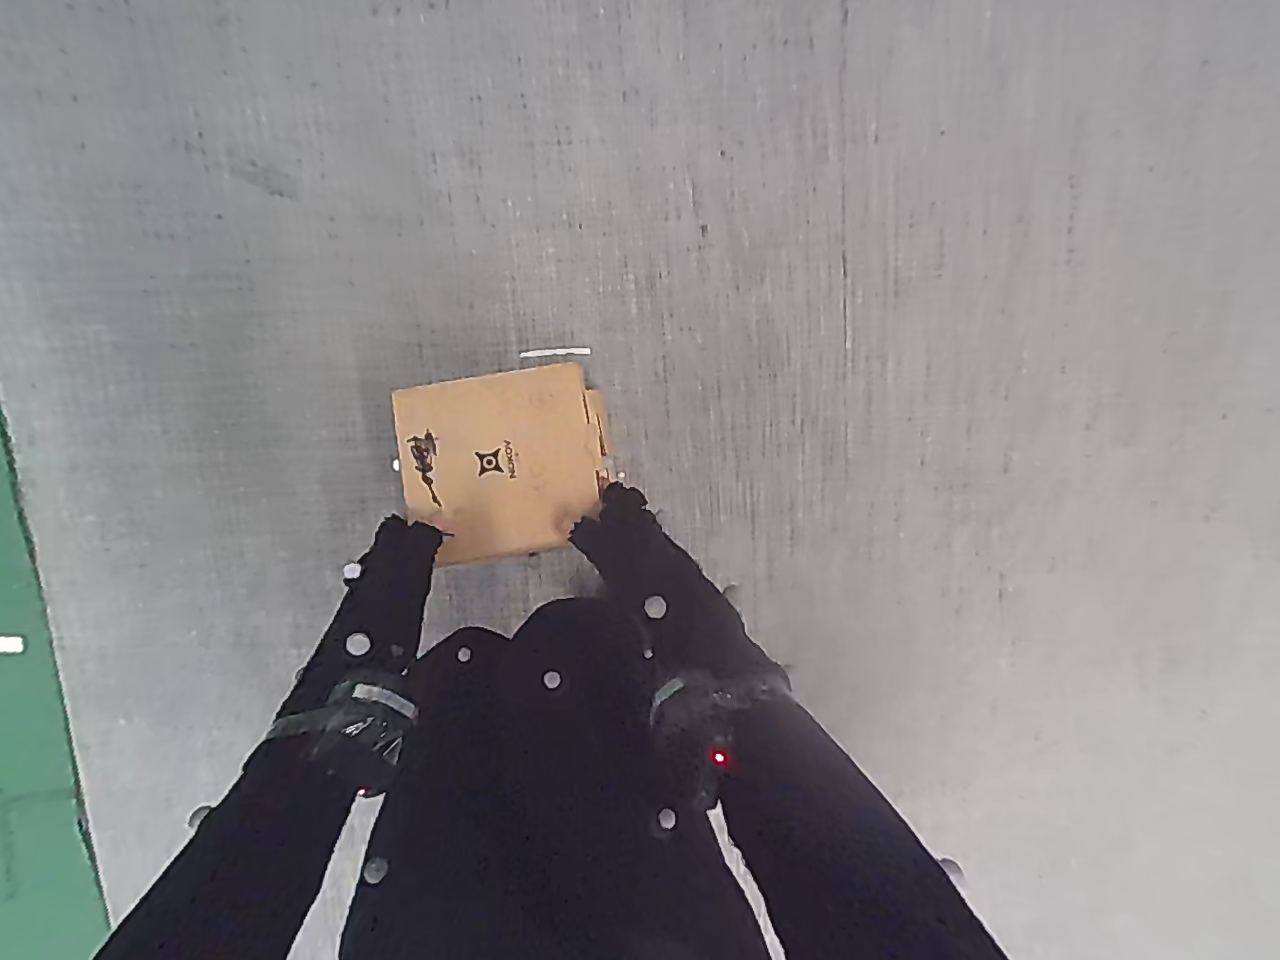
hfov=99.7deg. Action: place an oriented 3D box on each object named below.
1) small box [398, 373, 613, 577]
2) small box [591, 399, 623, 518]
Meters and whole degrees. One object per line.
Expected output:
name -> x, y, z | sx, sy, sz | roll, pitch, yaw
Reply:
small box -> -0.128, 0.005, 0.566 | 0.179, 0.176, 0.168 | -10, 79, -5
small box -> -0.126, -0.023, 0.794 | 0.179, 0.176, 0.168 | -13, 98, 1
